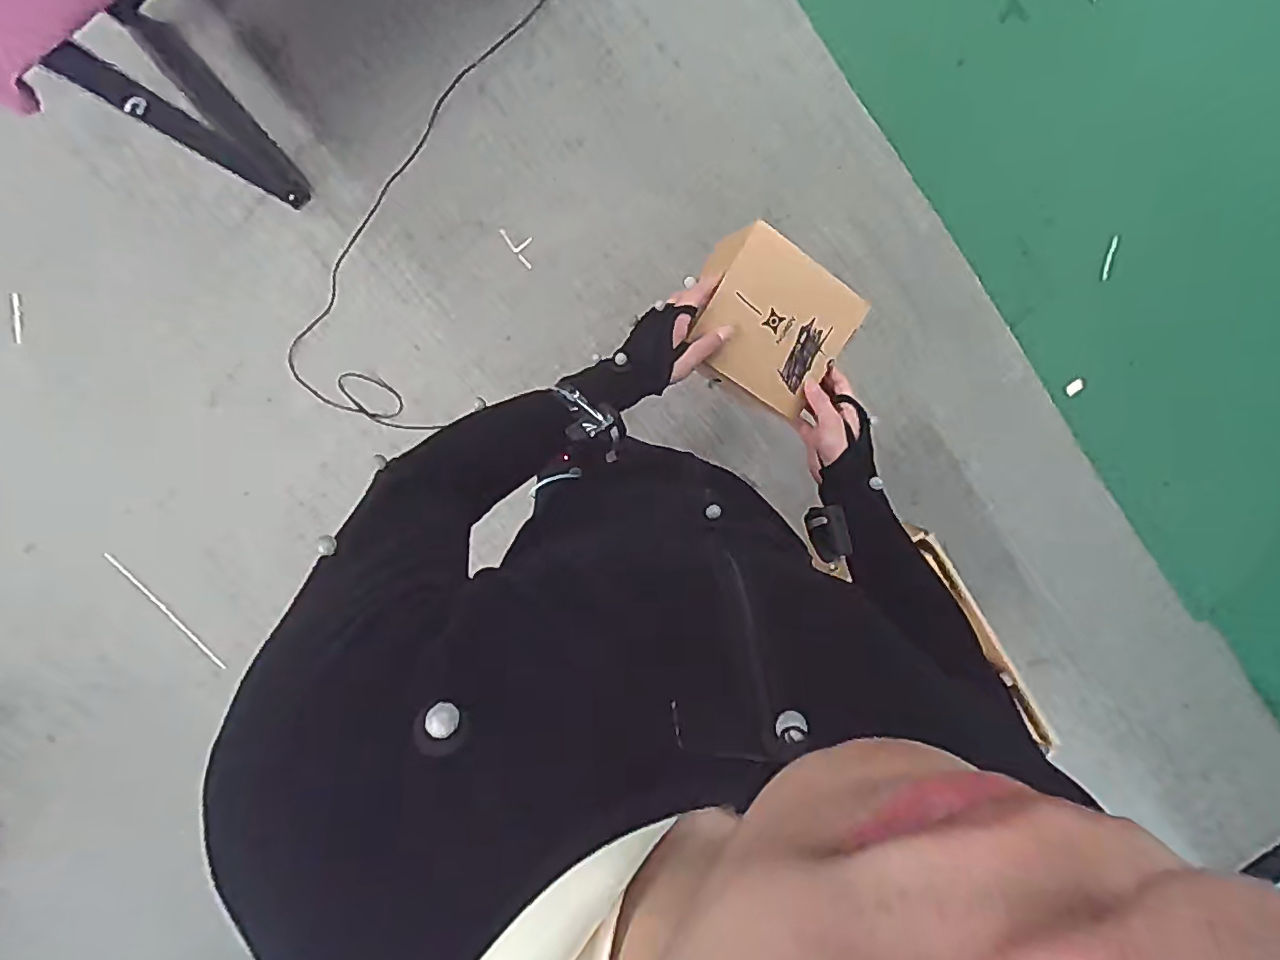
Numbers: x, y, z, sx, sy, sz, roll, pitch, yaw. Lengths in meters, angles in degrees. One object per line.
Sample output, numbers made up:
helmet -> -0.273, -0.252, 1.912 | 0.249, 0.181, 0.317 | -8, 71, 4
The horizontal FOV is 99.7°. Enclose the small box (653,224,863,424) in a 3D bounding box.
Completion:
small box -> 0.139, -0.196, 0.702 | 0.179, 0.176, 0.168 | 30, 98, -15
